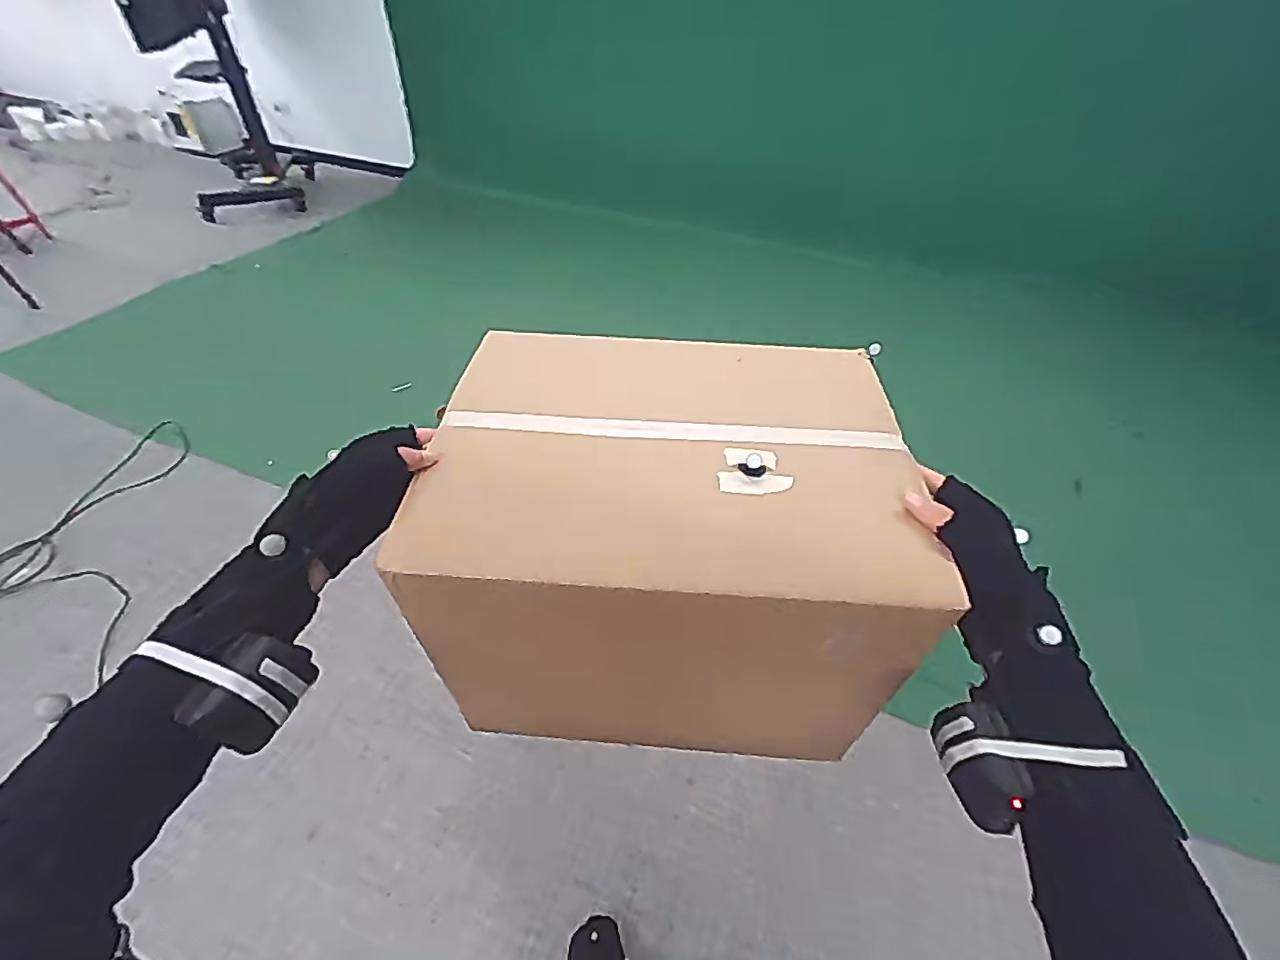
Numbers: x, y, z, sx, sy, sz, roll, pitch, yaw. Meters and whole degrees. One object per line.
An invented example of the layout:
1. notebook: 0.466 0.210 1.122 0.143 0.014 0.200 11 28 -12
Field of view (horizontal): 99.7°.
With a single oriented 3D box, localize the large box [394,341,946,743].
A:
1. large box: 0.022 0.068 0.591 0.408 0.320 0.320 3 47 2
